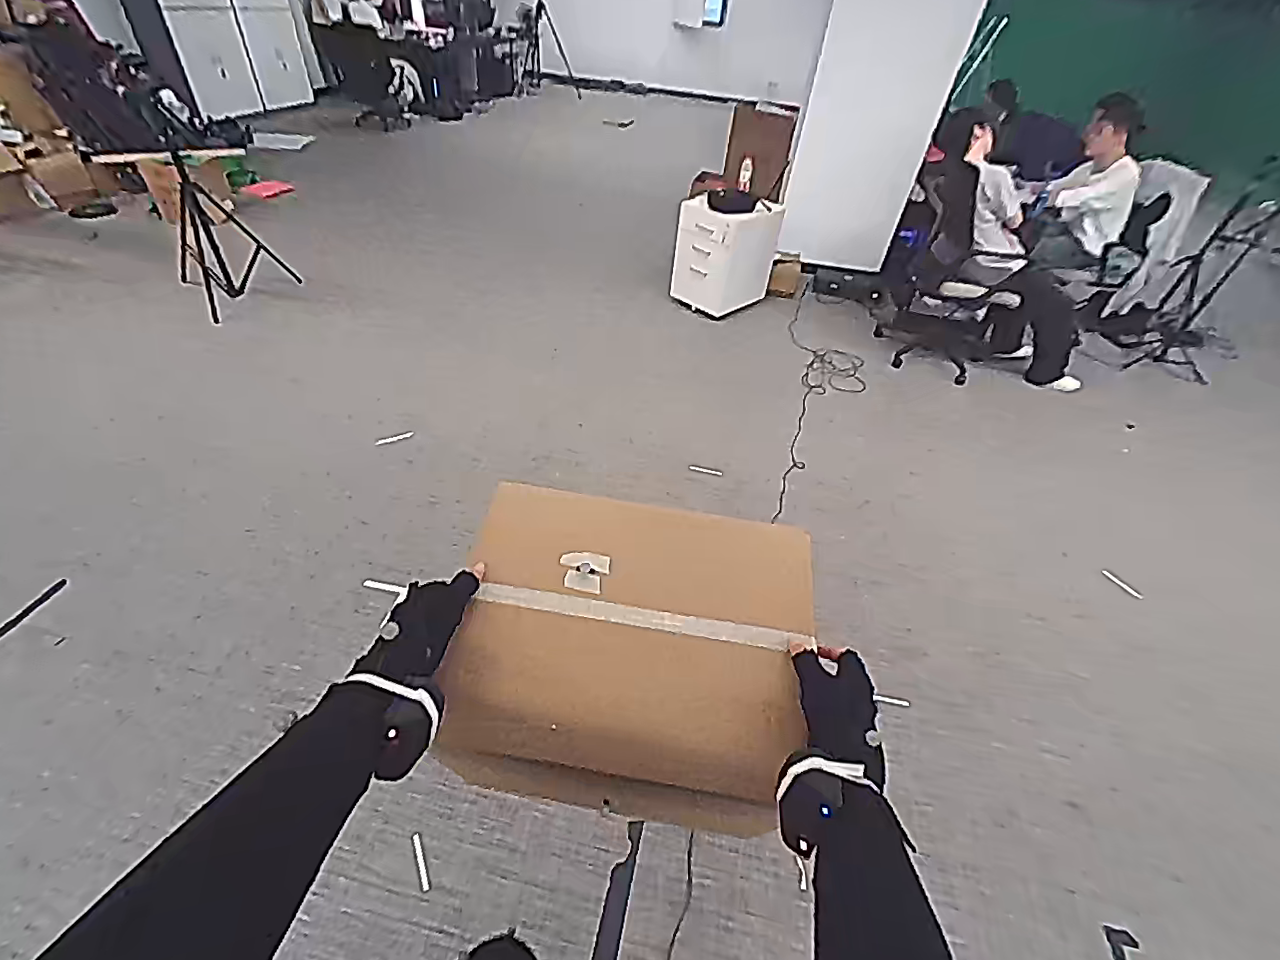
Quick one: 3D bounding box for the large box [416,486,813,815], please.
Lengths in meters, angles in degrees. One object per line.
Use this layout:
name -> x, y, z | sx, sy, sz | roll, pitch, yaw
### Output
large box -> -0.013, 0.242, 0.737 | 0.408, 0.320, 0.320 | 9, 53, 3
